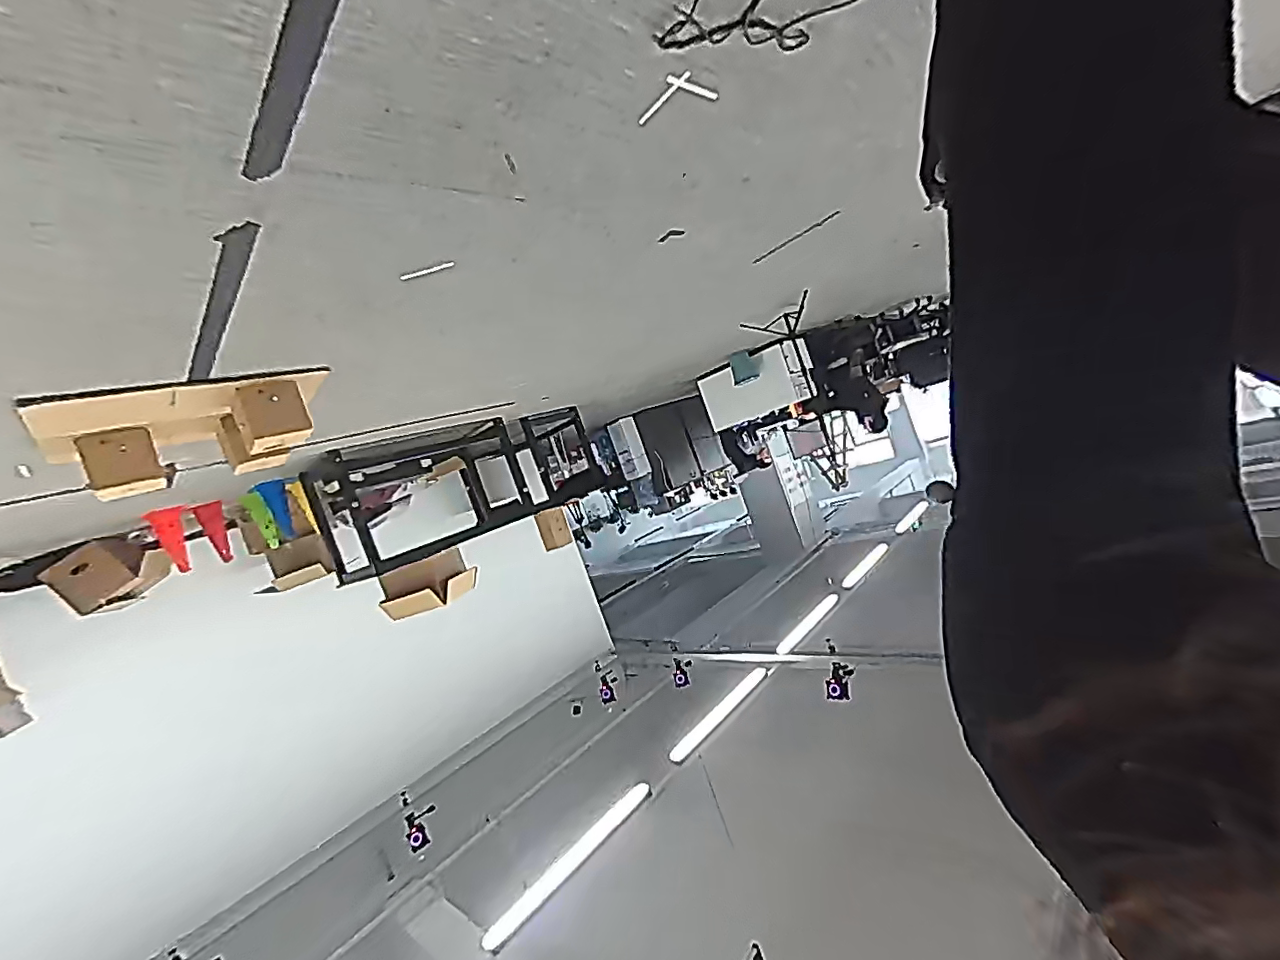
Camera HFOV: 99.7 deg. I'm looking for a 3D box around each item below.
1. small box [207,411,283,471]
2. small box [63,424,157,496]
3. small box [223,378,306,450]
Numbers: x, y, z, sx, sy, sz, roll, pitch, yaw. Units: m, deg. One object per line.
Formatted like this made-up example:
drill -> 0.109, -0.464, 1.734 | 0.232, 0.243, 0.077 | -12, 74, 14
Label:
small box -> -1.399, -0.147, 1.910 | 0.168, 0.176, 0.179 | -22, -177, -44
small box -> -1.628, -0.064, 1.669 | 0.168, 0.176, 0.179 | -21, -178, -40
small box -> -1.197, -0.213, 1.719 | 0.168, 0.176, 0.179 | -22, -178, -43
